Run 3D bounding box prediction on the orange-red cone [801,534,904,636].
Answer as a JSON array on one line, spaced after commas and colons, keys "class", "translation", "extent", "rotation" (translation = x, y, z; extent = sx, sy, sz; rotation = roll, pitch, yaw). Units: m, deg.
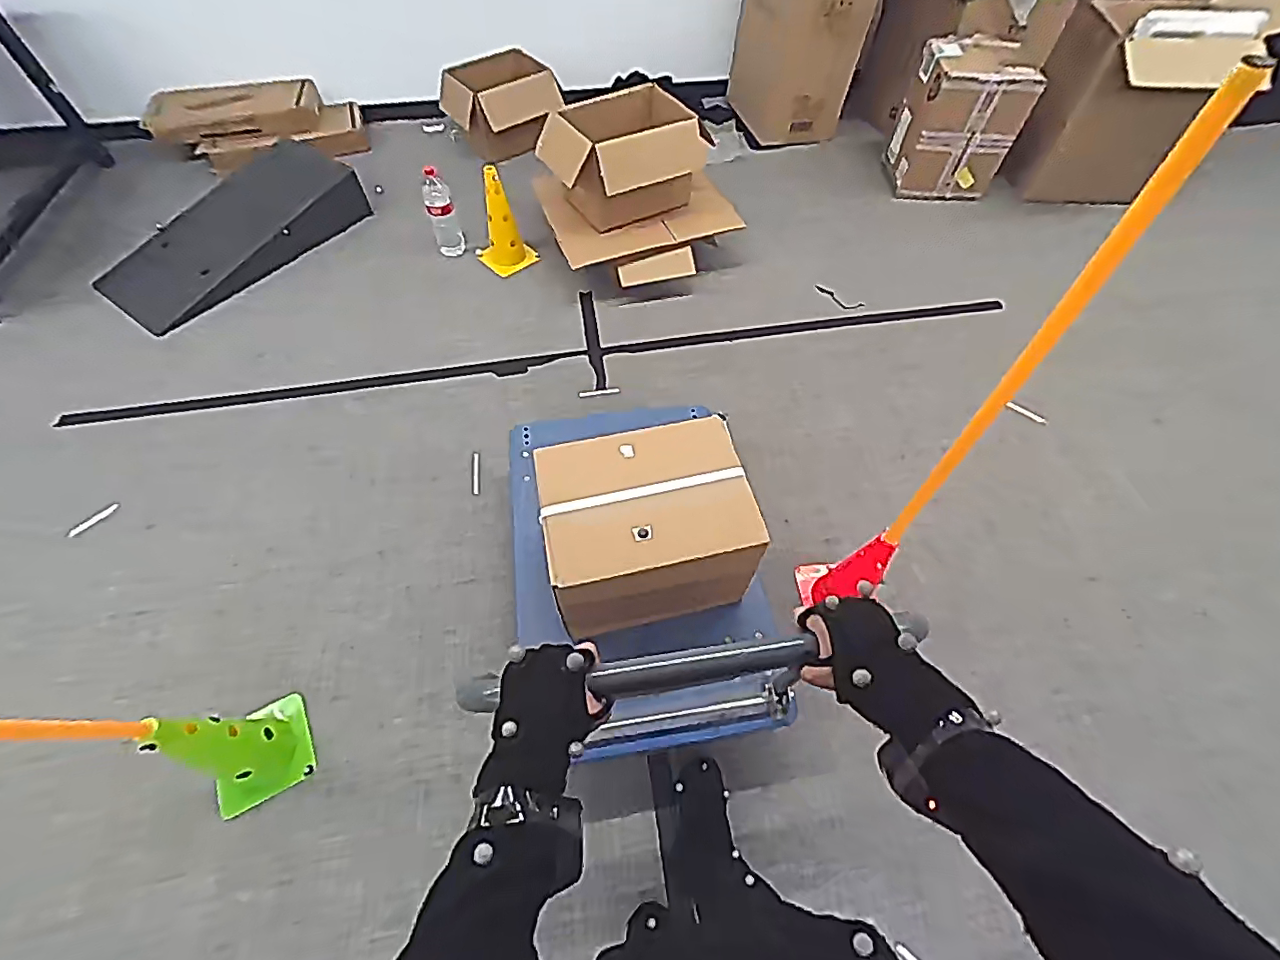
[{"class": "orange-red cone", "translation": [0.540, 0.223, 1.289], "extent": [0.199, 0.360, 0.198], "rotation": [-2, 58, -3]}]
